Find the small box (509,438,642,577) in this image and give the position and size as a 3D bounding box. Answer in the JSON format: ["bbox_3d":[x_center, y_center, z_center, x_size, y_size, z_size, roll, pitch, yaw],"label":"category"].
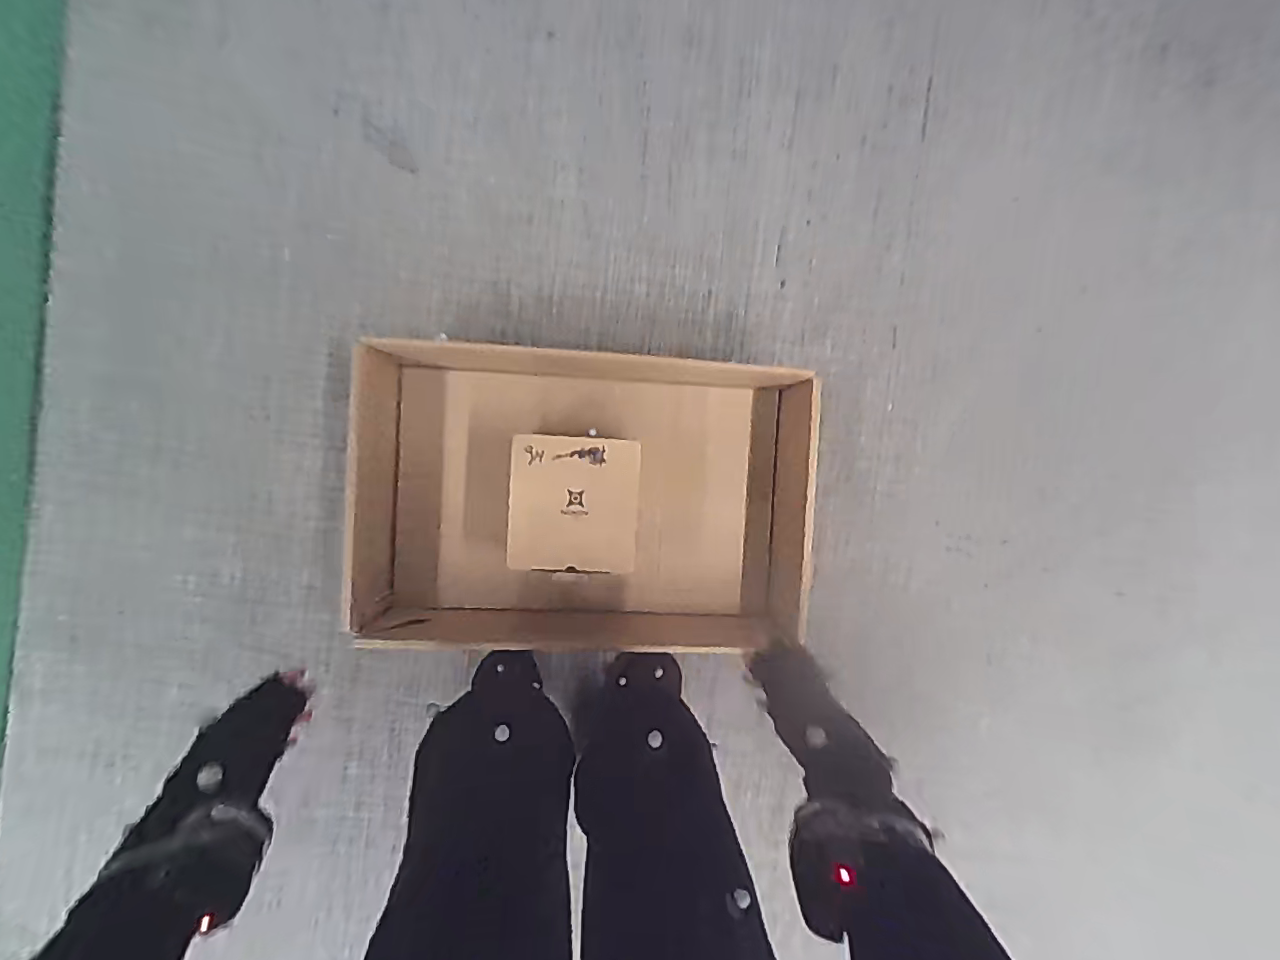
[{"bbox_3d":[-0.089,0.032,0.783,0.168,0.176,0.179,3,92,-5],"label":"small box"}]
